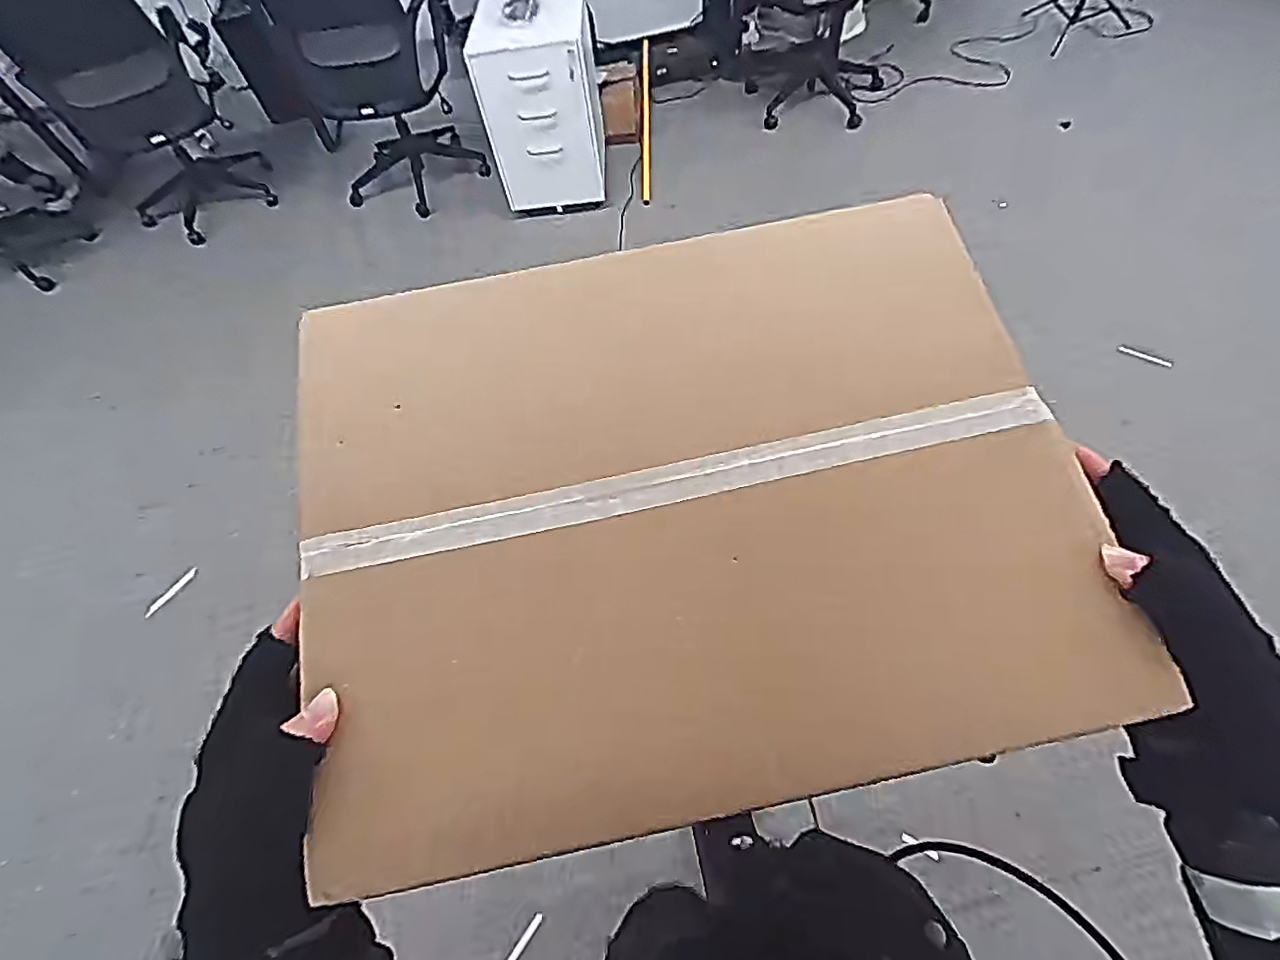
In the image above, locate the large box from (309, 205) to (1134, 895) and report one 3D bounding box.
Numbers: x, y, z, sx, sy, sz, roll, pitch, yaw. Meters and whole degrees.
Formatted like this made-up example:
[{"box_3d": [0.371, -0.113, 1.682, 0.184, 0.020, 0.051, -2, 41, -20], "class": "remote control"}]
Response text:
[{"box_3d": [0.025, 0.050, 0.442, 0.408, 0.320, 0.320, -13, 71, -2], "class": "large box"}]
